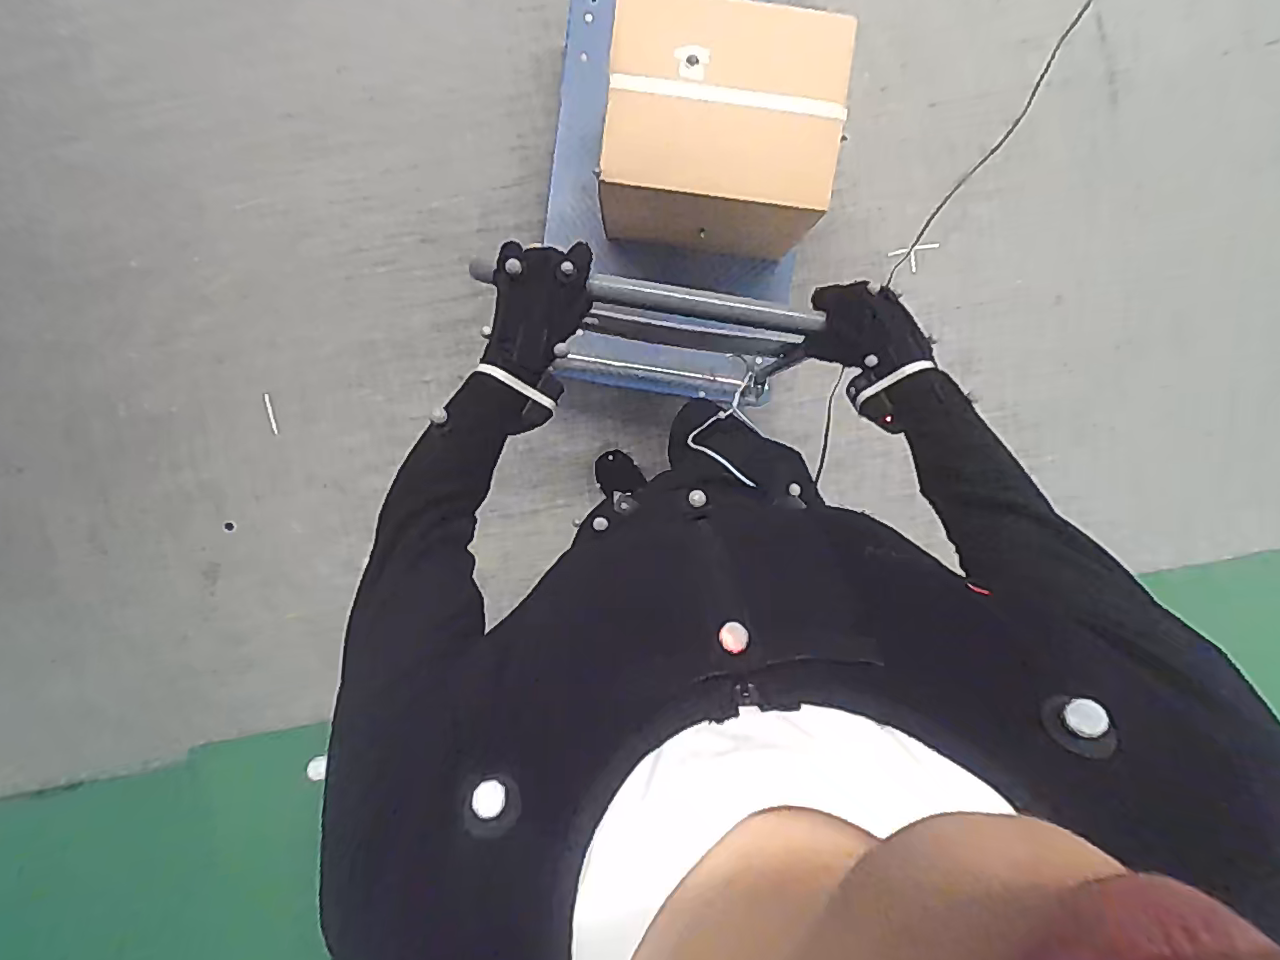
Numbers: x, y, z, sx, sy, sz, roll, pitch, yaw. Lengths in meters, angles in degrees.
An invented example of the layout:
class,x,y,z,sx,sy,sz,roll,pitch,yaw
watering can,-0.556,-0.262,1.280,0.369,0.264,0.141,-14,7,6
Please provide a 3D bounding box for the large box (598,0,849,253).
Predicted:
class,x,y,z,sx,sy,sz,roll,pitch,yaw
large box,0.143,-0.666,1.069,0.408,0.320,0.320,7,96,-1
